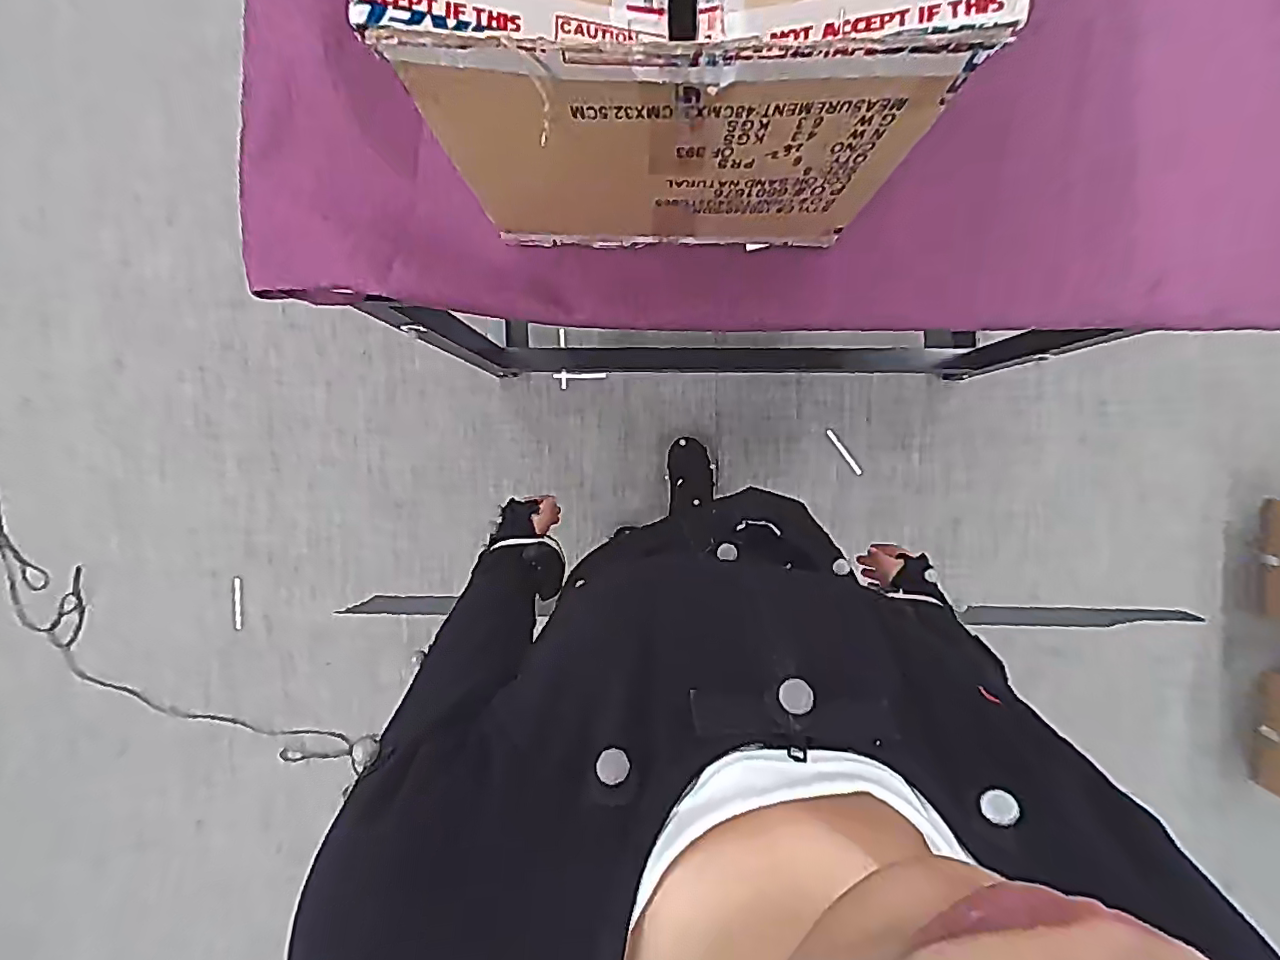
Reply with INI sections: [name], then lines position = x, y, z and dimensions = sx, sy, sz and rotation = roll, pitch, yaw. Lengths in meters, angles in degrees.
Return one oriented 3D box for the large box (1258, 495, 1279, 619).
[large box]
position = 1.746, 0.191, 1.196
dimensions = 0.408, 0.320, 0.320
rotation = -1, 92, 3
